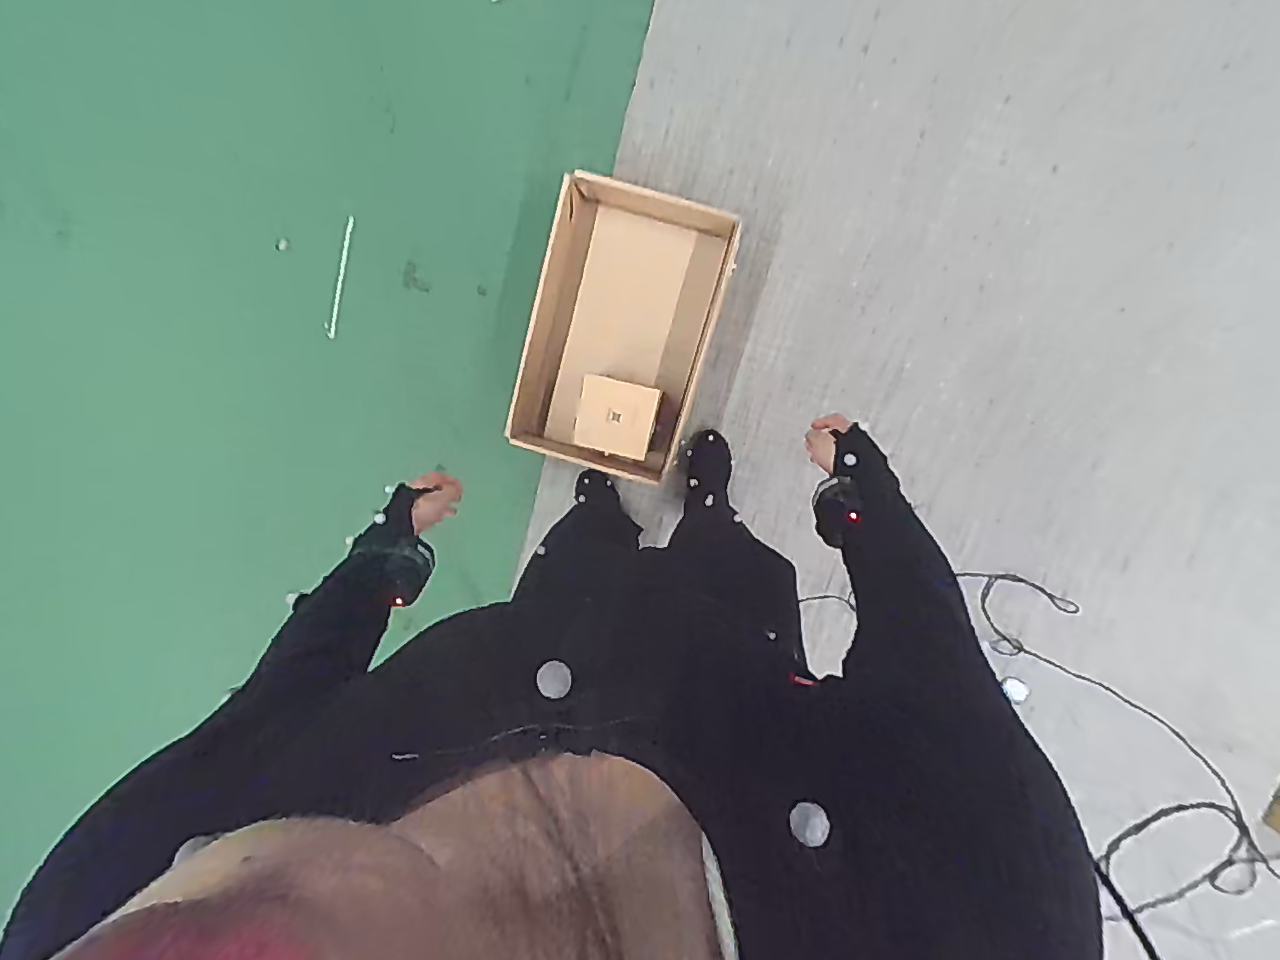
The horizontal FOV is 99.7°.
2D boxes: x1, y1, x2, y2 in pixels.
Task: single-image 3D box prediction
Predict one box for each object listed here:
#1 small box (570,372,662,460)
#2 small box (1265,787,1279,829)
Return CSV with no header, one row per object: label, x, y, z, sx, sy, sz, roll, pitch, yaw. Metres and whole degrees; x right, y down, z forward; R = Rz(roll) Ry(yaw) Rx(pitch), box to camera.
small box,-0.052,-0.155,1.288,0.179,0.176,0.168,13,101,2
small box,1.730,0.844,1.331,0.168,0.176,0.179,14,100,4
